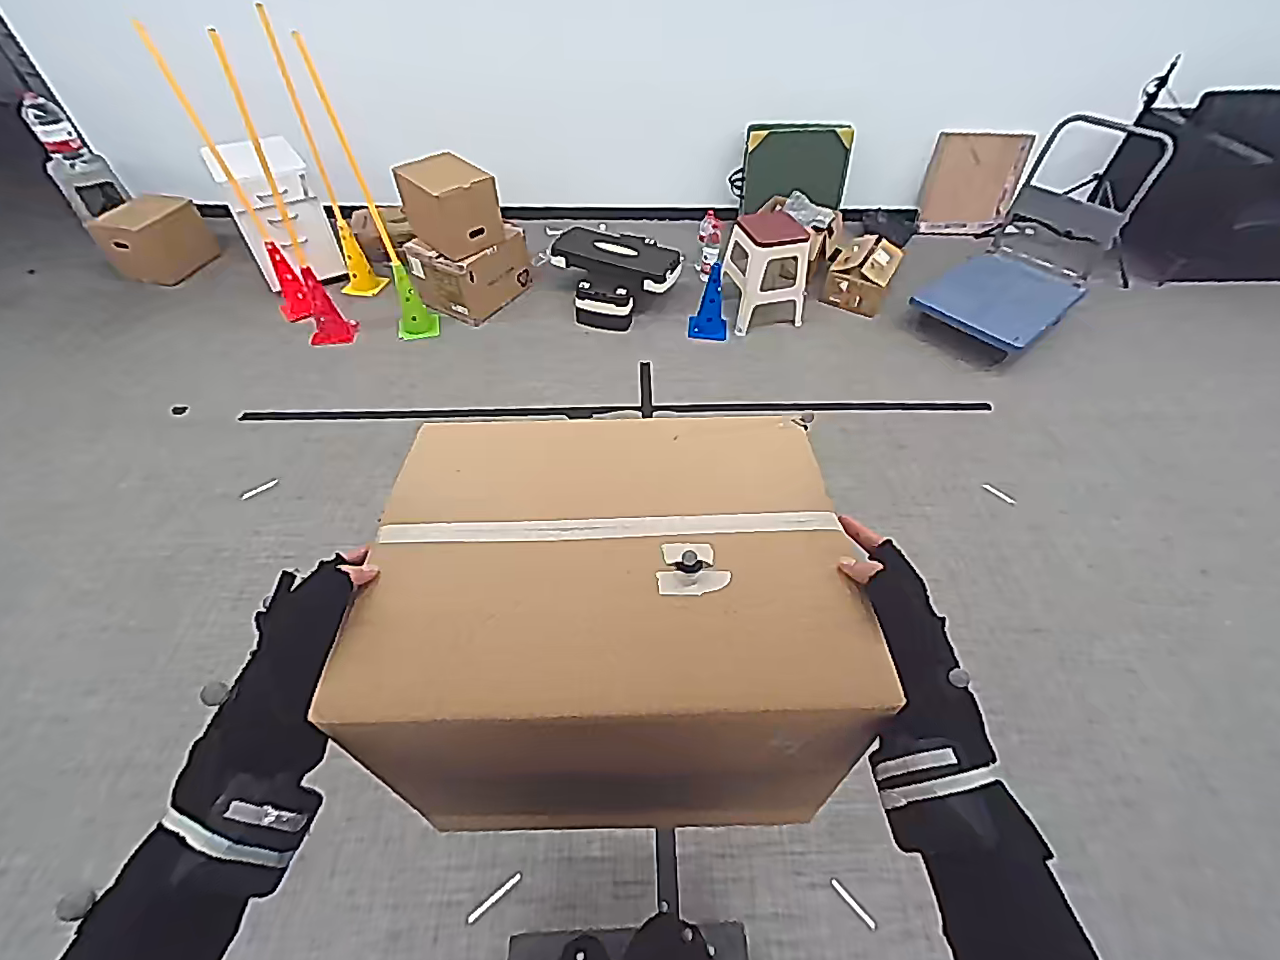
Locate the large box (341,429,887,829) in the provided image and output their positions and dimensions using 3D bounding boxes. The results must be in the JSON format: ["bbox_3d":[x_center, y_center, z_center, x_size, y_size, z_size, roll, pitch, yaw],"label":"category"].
[{"bbox_3d":[-0.021,0.162,0.595,0.408,0.320,0.320,-1,45,0],"label":"large box"}]
